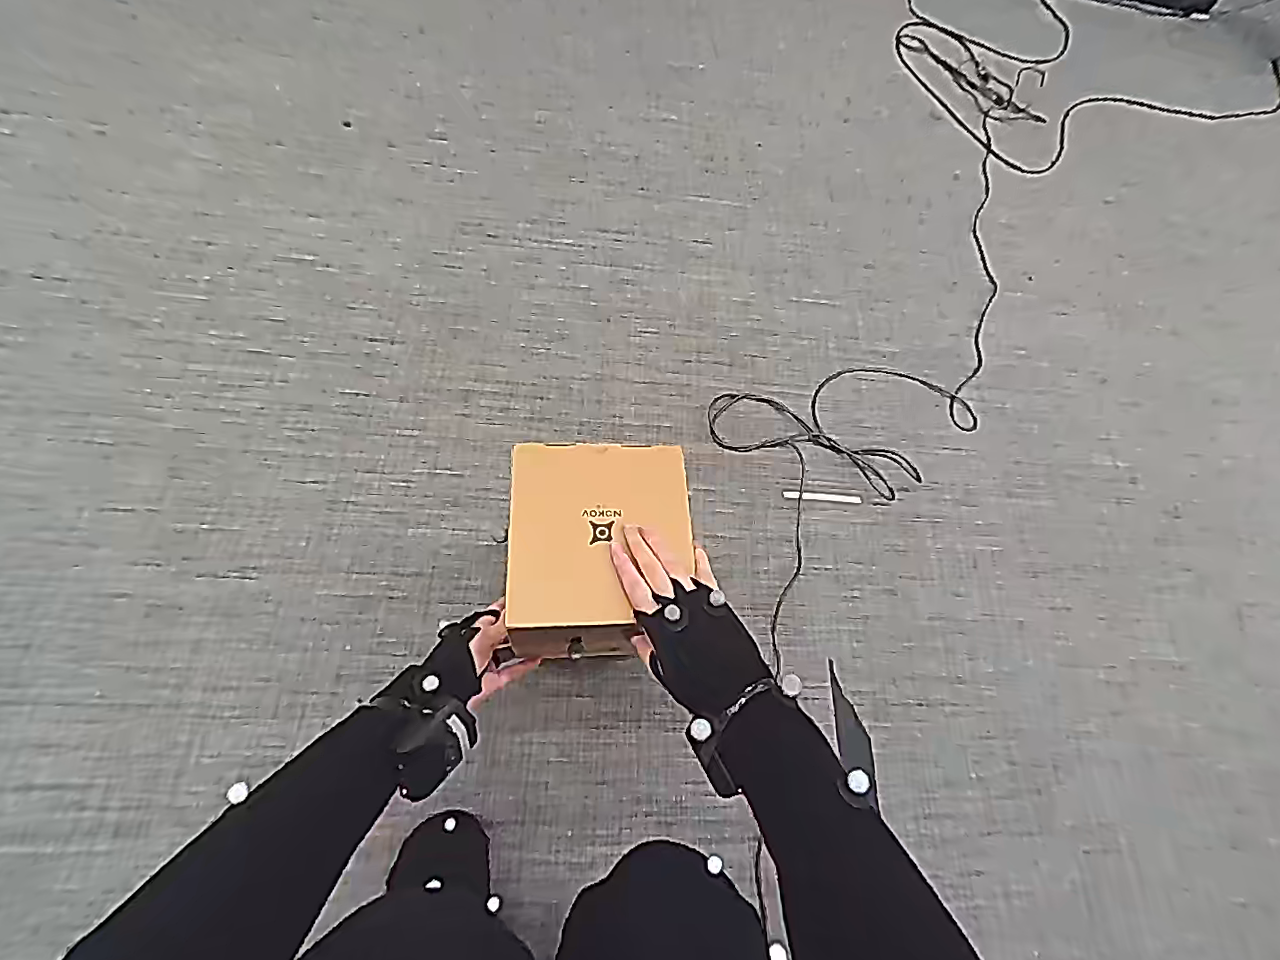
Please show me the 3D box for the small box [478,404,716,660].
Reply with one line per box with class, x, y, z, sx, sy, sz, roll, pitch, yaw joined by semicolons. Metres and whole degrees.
small box;-0.036;0.049;0.527;0.179;0.176;0.168;-13;45;4
